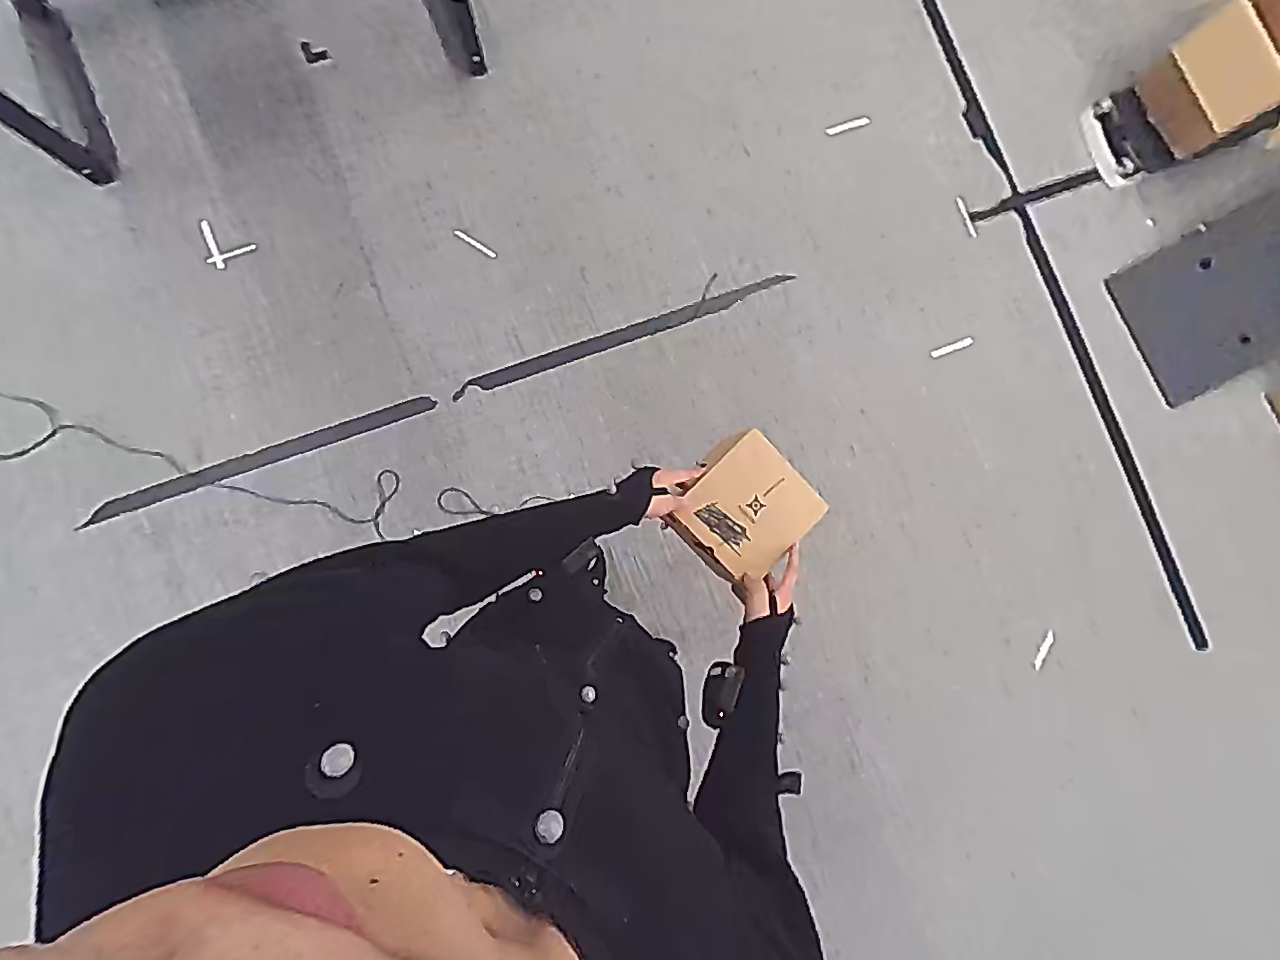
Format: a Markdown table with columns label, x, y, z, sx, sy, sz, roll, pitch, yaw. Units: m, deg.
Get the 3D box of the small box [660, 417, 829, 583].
| label | x | y | z | sx | sy | sz | roll | pitch | yaw |
| --- | --- | --- | --- | --- | --- | --- | --- | --- | --- |
| small box | 0.145 | 0.031 | 0.831 | 0.168 | 0.176 | 0.179 | 44 | 84 | -4 |
